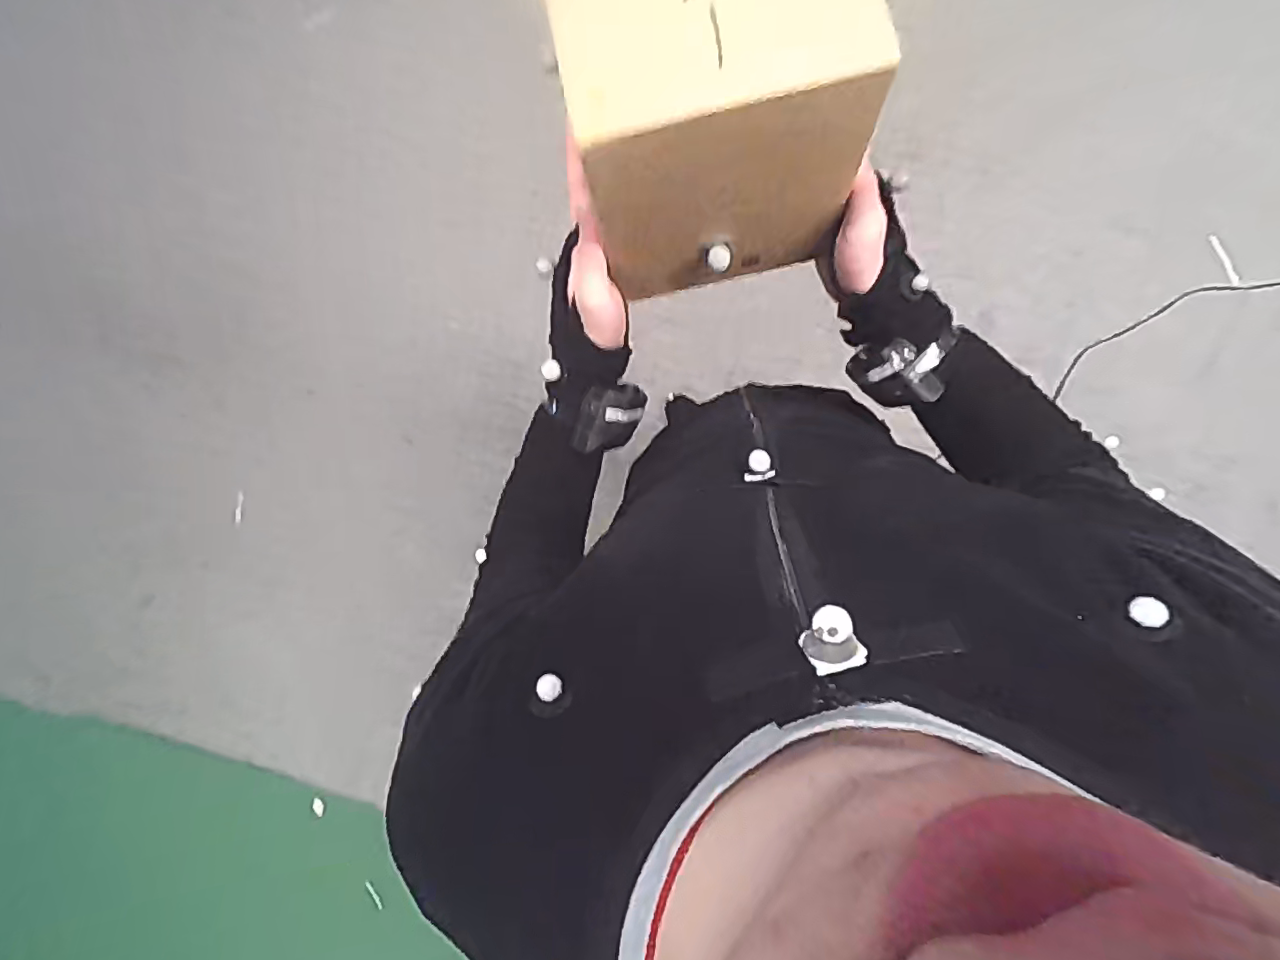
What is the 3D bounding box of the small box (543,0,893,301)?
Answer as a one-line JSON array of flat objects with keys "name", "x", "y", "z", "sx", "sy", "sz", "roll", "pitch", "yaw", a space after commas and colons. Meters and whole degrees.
[{"name": "small box", "x": 0.036, "y": -0.249, "z": 0.359, "sx": 0.168, "sy": 0.176, "sz": 0.179, "roll": -11, "pitch": 81, "yaw": 4}]
